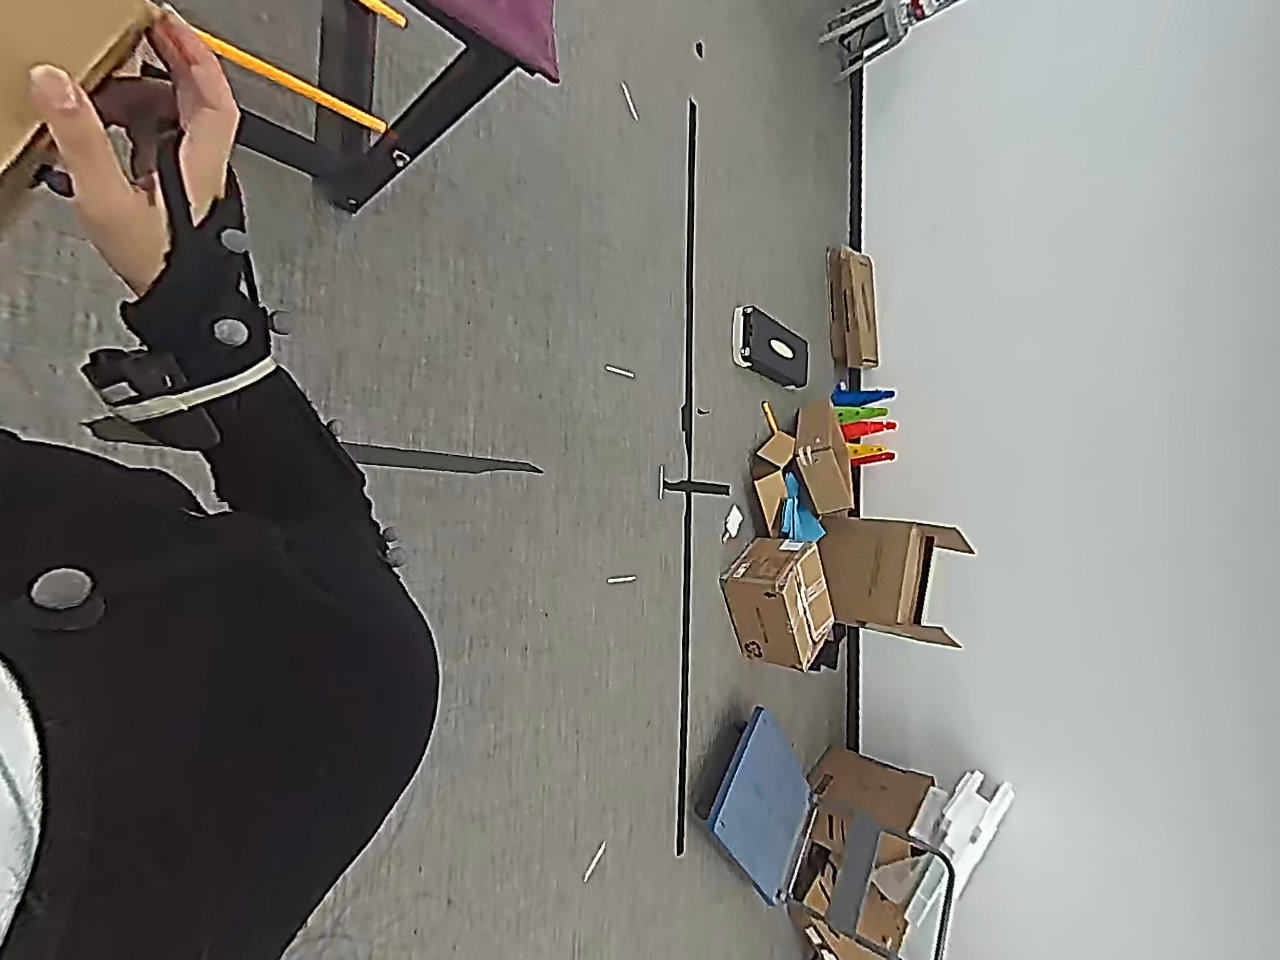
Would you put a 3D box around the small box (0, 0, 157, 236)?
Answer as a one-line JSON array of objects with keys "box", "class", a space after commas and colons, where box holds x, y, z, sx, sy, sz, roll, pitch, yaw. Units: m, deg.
[{"box": [-0.368, -0.210, 0.235, 0.168, 0.176, 0.179, -58, 138, -8], "class": "small box"}]
